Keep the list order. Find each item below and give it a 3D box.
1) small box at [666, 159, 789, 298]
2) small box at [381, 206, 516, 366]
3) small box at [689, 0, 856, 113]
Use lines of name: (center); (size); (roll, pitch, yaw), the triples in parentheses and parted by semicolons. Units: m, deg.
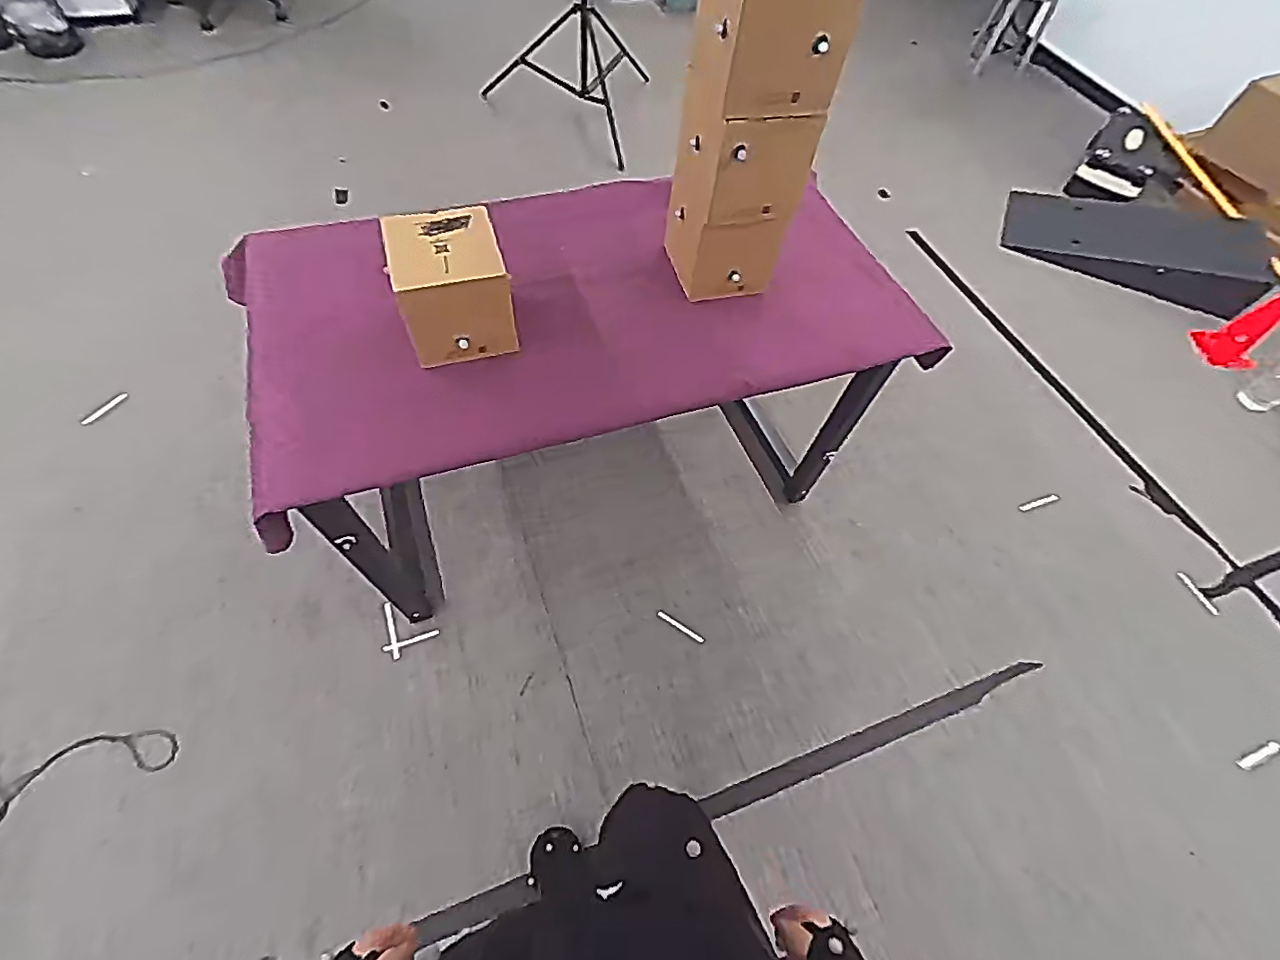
small box: (0.153, -0.474, 1.027); (0.168, 0.176, 0.179); (-11, 62, -11)
small box: (-0.311, -0.318, 0.894); (0.168, 0.176, 0.179); (-15, 63, -13)
small box: (0.176, -0.632, 0.742); (0.168, 0.176, 0.179); (-9, 60, -11)
